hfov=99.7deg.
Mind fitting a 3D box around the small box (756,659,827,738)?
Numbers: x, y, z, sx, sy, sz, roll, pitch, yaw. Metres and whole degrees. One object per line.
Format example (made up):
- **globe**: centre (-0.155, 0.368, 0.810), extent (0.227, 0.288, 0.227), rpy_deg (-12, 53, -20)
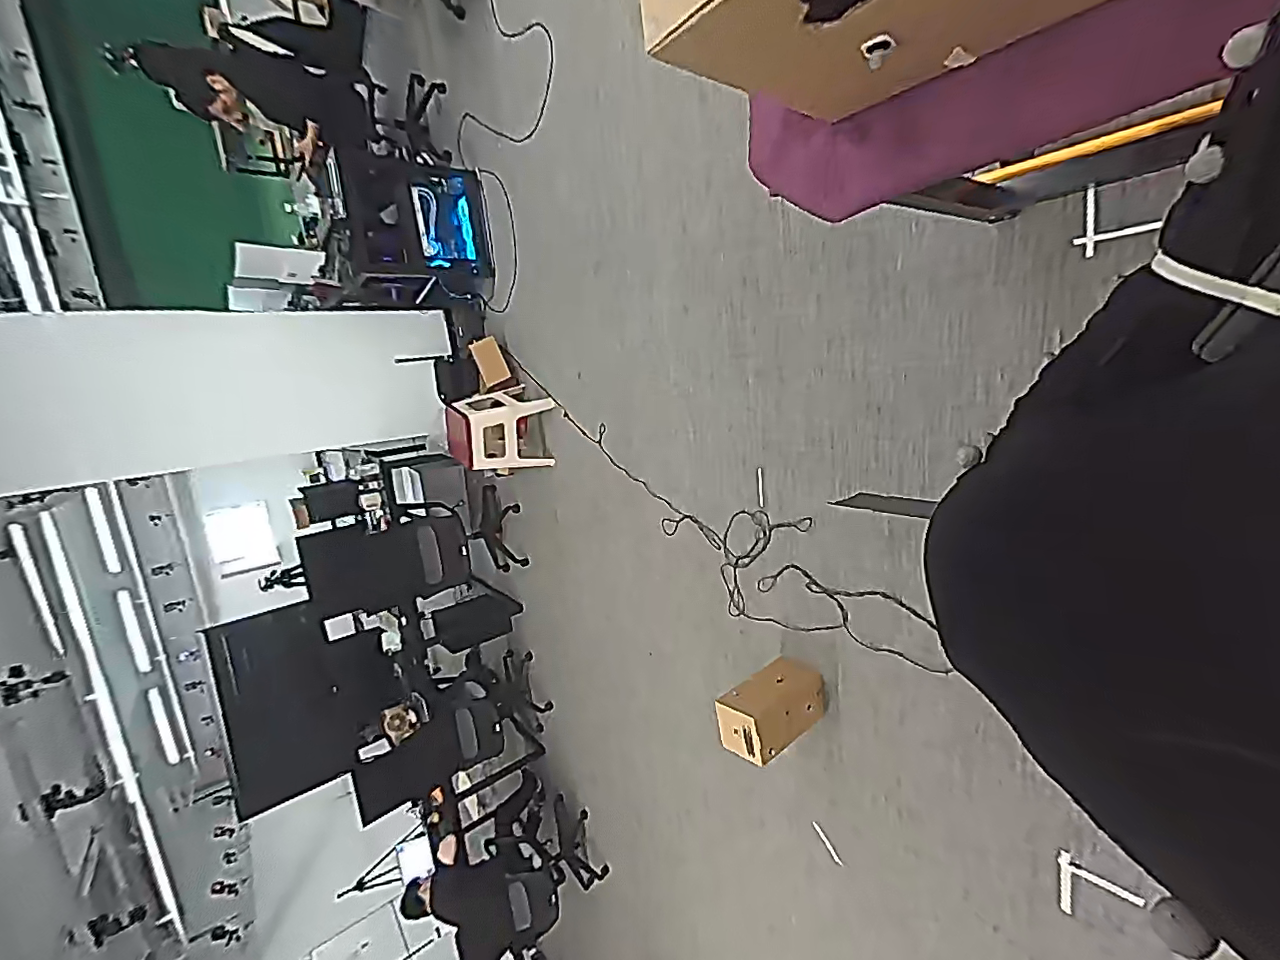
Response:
- **small box**: centre (0.524, 0.738, 1.850), extent (0.179, 0.176, 0.168), rpy_deg (7, 107, 53)
